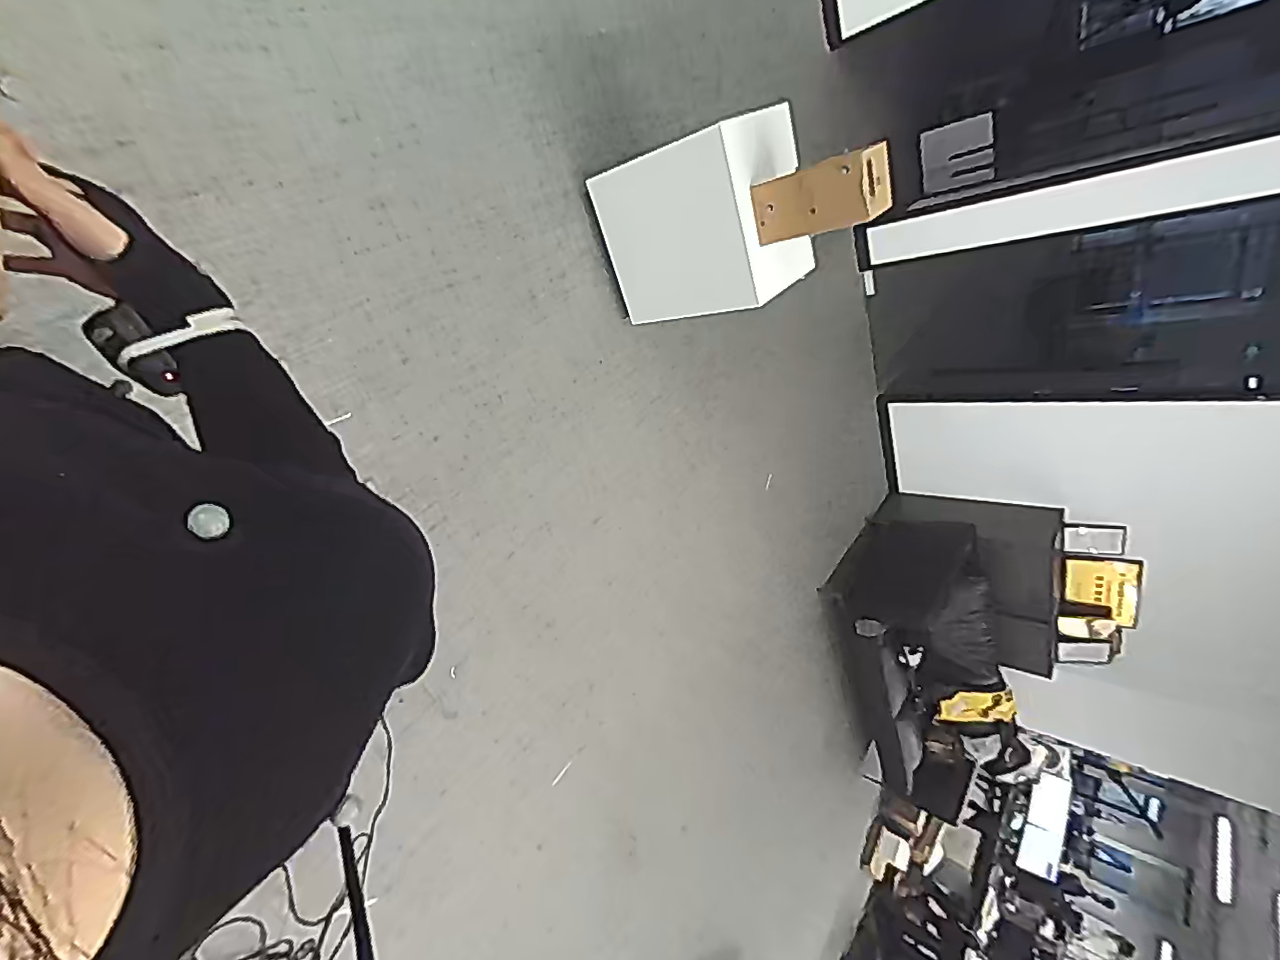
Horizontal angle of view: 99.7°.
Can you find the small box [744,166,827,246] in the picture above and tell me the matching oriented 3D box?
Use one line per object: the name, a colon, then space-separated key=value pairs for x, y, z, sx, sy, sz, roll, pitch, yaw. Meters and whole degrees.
small box: x=0.432 y=-0.809 z=1.602 sx=0.179 sy=0.176 sz=0.168 roll=-39 pitch=122 yaw=-38
